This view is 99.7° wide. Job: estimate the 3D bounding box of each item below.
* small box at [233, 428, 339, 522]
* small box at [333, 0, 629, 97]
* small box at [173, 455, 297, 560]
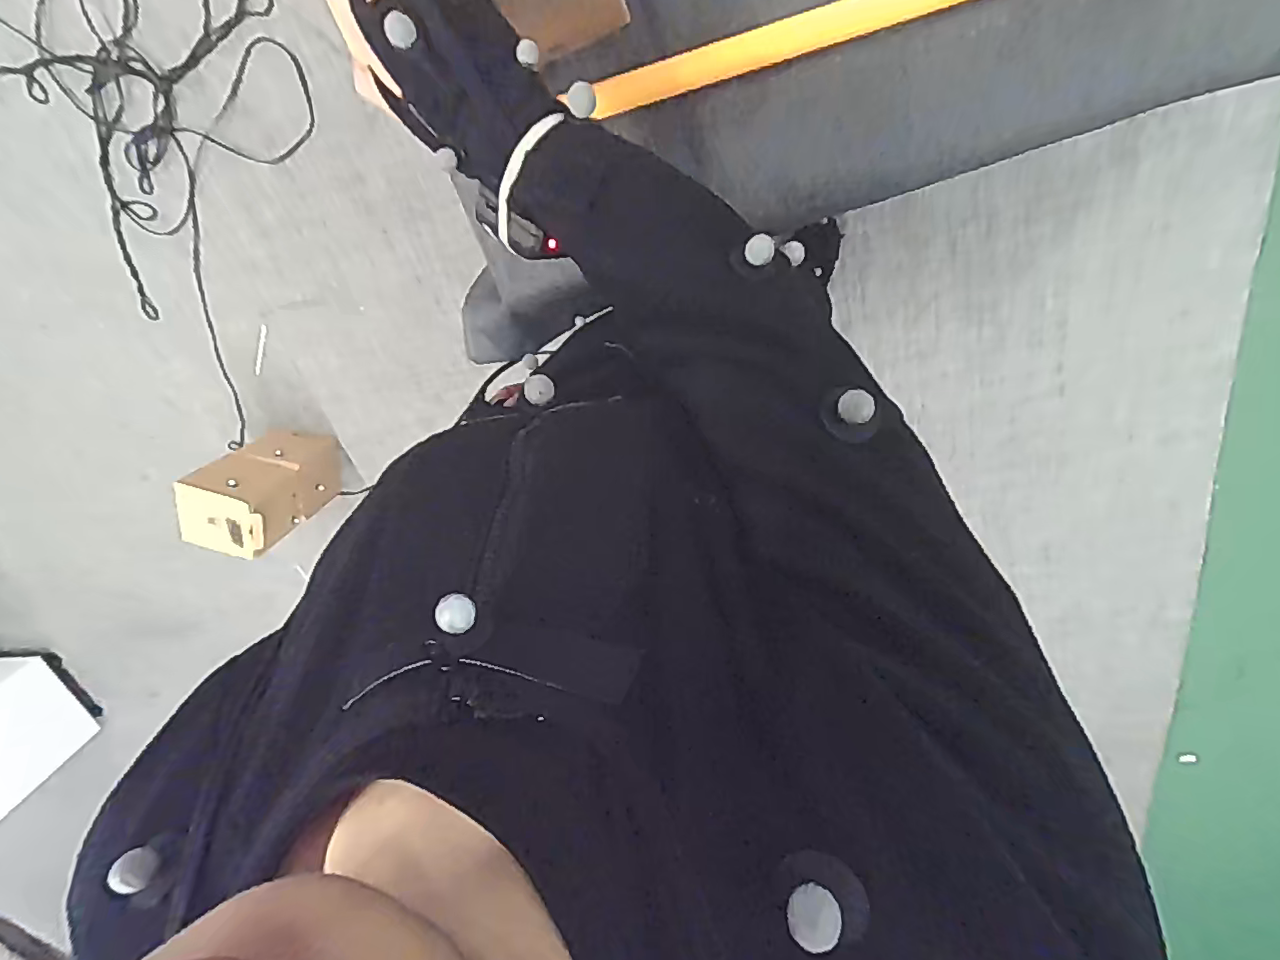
[{"bbox_3d":[-0.930,-0.017,1.441,0.168,0.176,0.179,12,118,0],"label":"small box"},{"bbox_3d":[-0.116,-0.387,0.347,0.168,0.176,0.179,-16,115,14],"label":"small box"},{"bbox_3d":[-0.955,0.060,1.296,0.179,0.176,0.168,16,117,-2],"label":"small box"}]
